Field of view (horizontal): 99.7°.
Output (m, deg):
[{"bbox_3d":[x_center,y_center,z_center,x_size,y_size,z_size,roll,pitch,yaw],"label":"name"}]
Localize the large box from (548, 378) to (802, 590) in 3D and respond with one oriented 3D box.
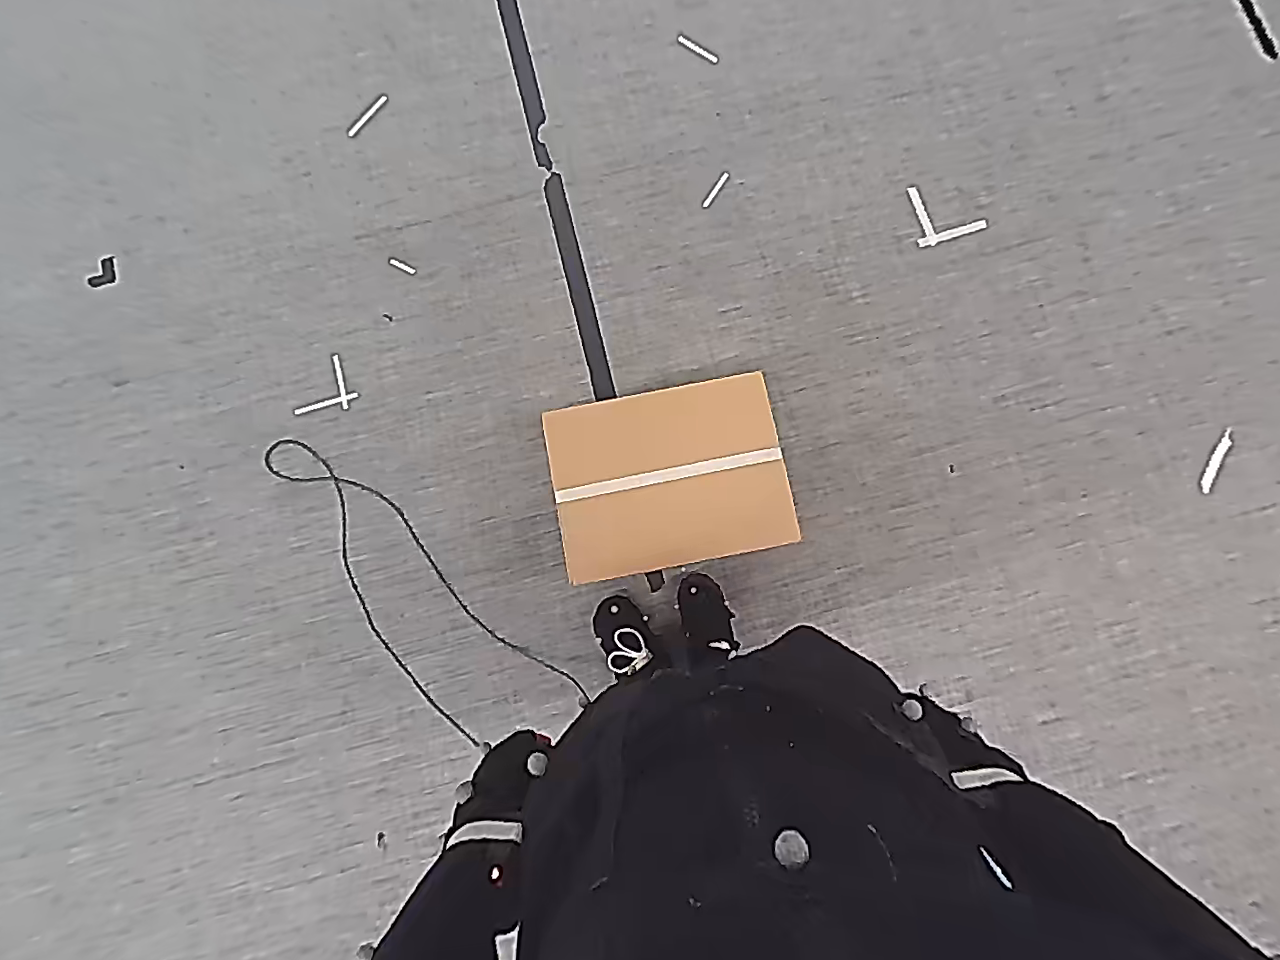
[{"bbox_3d":[0.059,0.025,1.097,0.408,0.320,0.320,-11,82,-1],"label":"large box"}]
